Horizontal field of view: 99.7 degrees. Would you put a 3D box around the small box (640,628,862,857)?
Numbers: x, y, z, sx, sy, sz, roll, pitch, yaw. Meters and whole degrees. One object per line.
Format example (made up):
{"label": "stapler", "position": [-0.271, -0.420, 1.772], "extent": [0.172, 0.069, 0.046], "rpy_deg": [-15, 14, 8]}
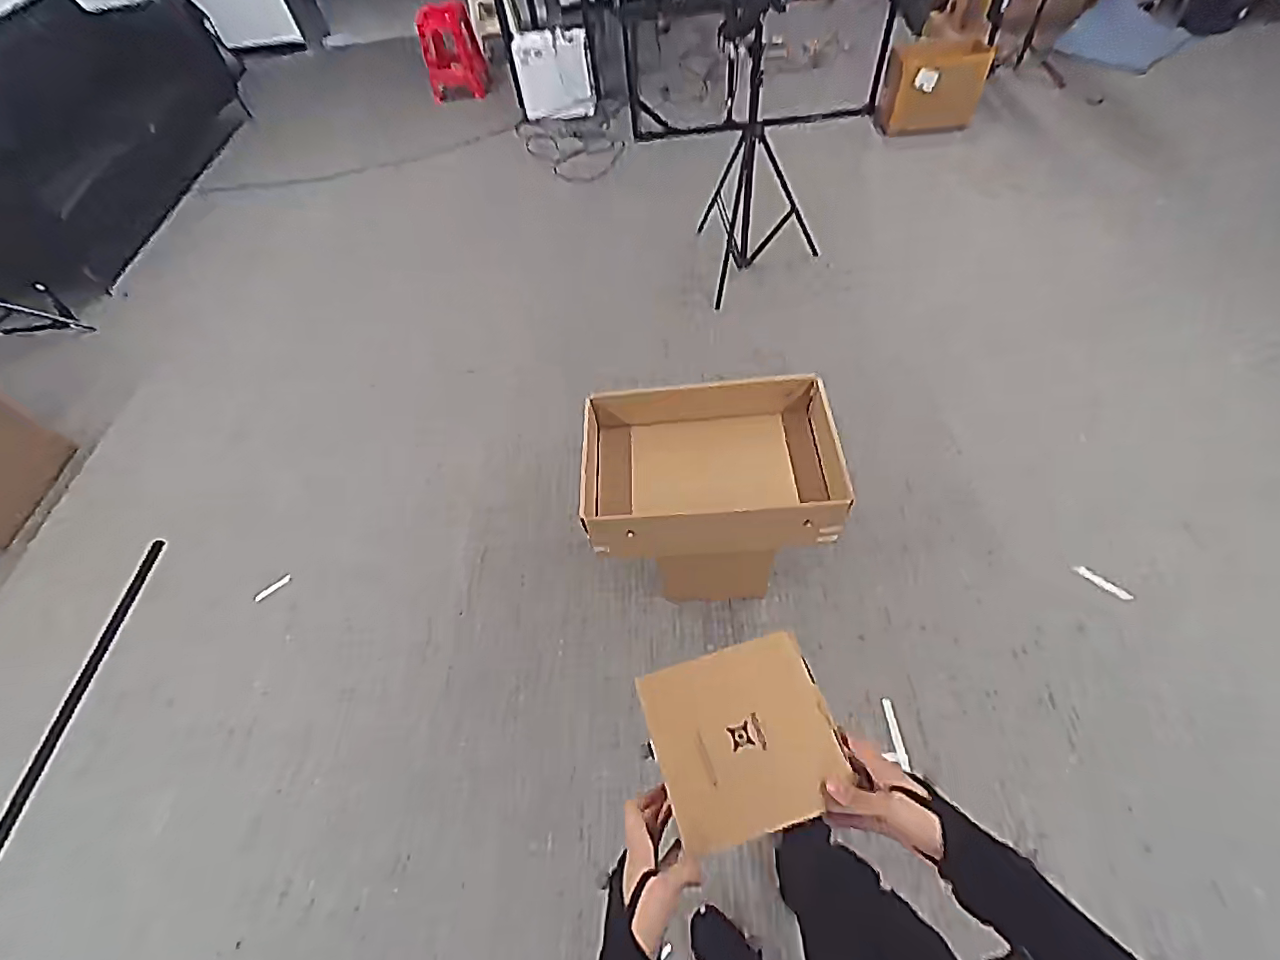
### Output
{"label": "small box", "position": [0.103, 0.283, 0.596], "extent": [0.179, 0.176, 0.168], "rpy_deg": [-16, 62, -8]}
